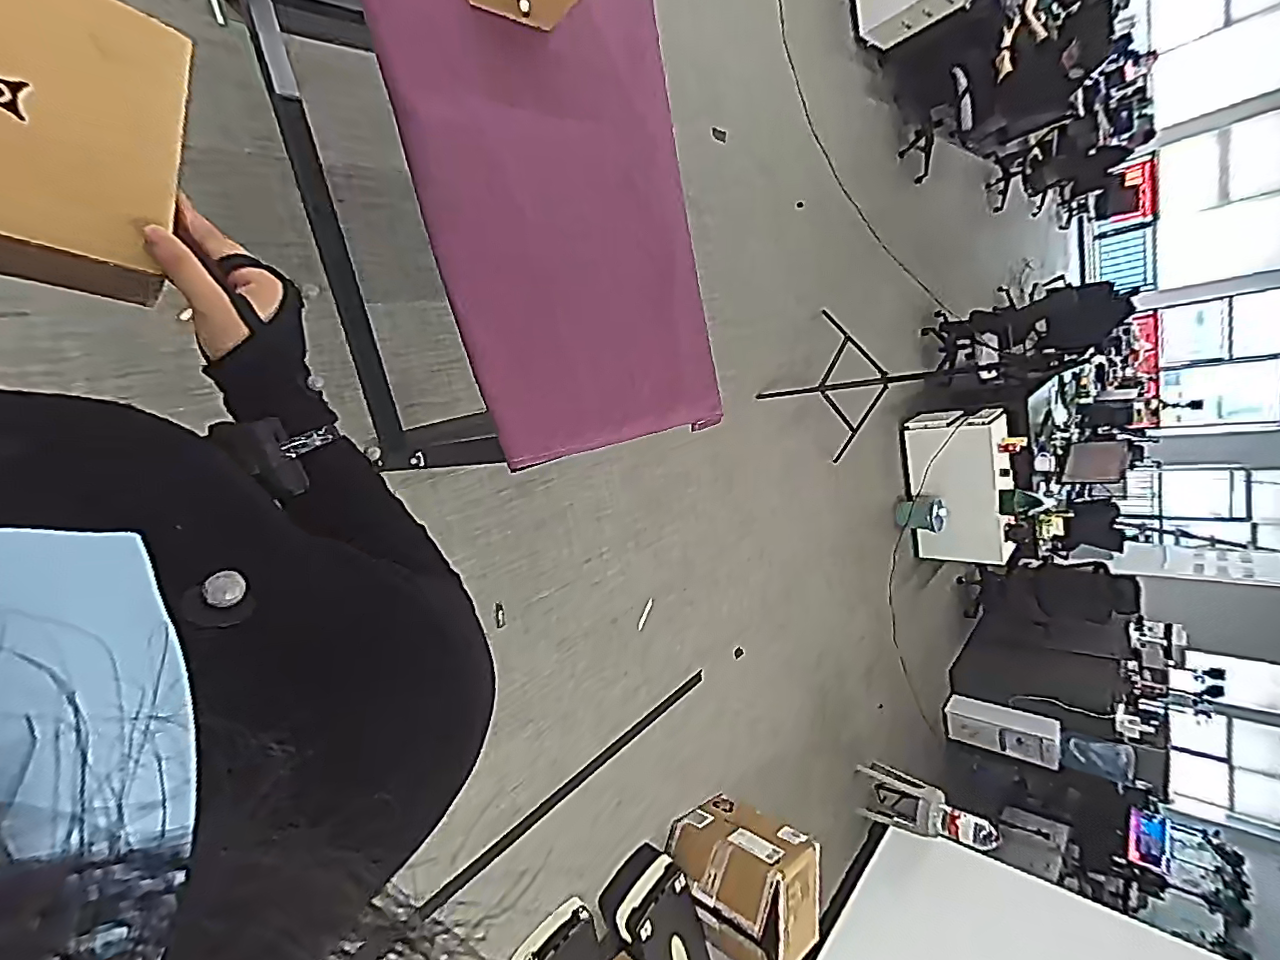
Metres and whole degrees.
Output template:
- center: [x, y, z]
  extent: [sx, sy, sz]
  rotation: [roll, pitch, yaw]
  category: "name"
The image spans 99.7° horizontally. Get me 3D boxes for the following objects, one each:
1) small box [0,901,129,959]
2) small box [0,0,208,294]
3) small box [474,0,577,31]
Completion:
- center: [-1.037, 0.894, 0.949]
  extent: [0.168, 0.176, 0.179]
  rotation: [-26, 108, -41]
  category: "small box"
- center: [-0.428, -0.239, 0.376]
  extent: [0.179, 0.176, 0.168]
  rotation: [6, 92, -43]
  category: "small box"
- center: [-0.183, -0.872, 0.851]
  extent: [0.168, 0.176, 0.179]
  rotation: [-22, 105, -42]
  category: "small box"
